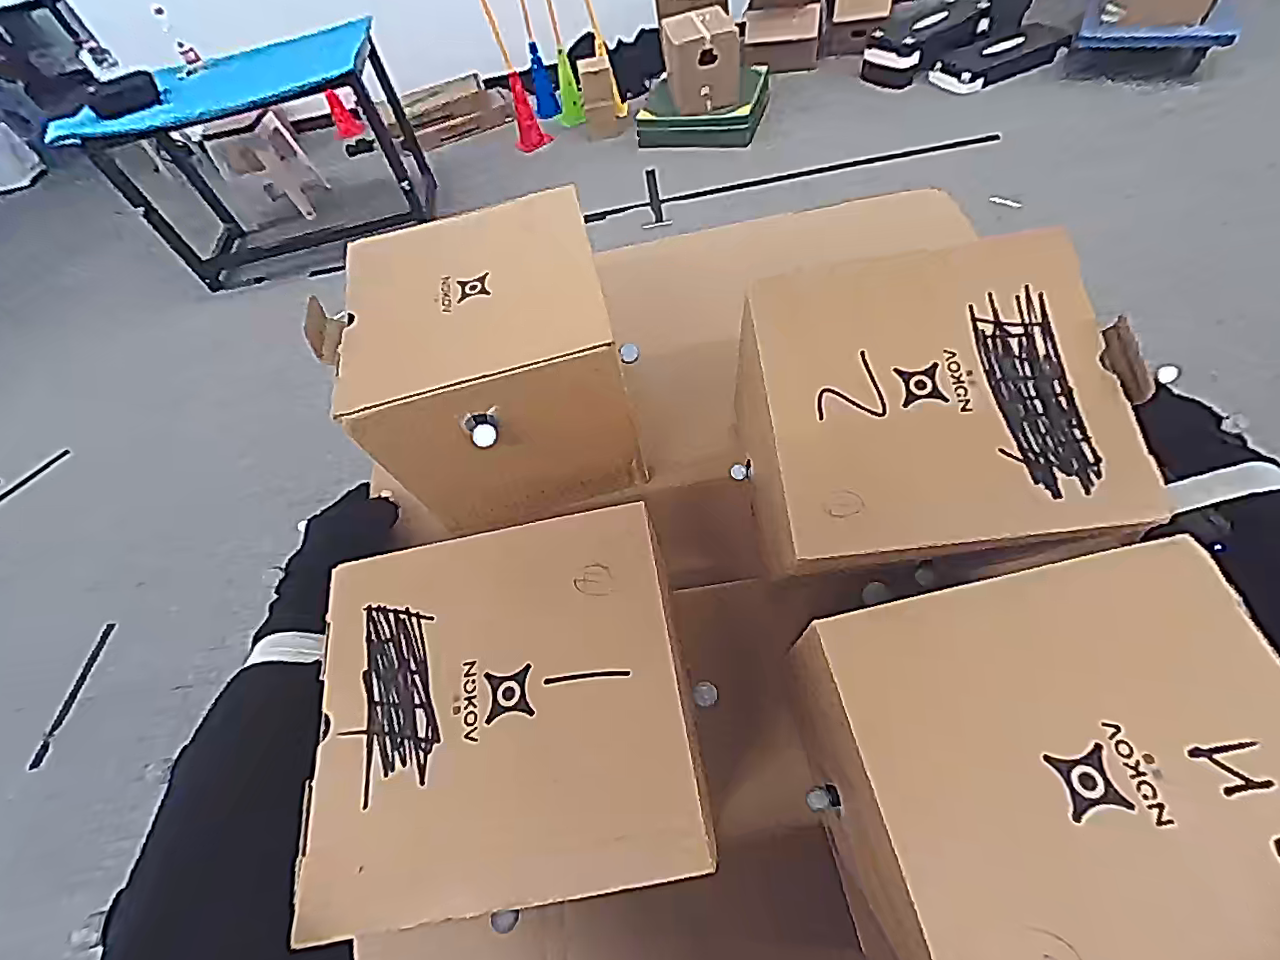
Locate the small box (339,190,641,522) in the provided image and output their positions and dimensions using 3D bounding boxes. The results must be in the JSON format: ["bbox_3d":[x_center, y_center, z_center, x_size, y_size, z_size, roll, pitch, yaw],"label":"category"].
[{"bbox_3d":[-0.102,-0.087,0.432,0.179,0.176,0.168,-15,59,2],"label":"small box"}]
